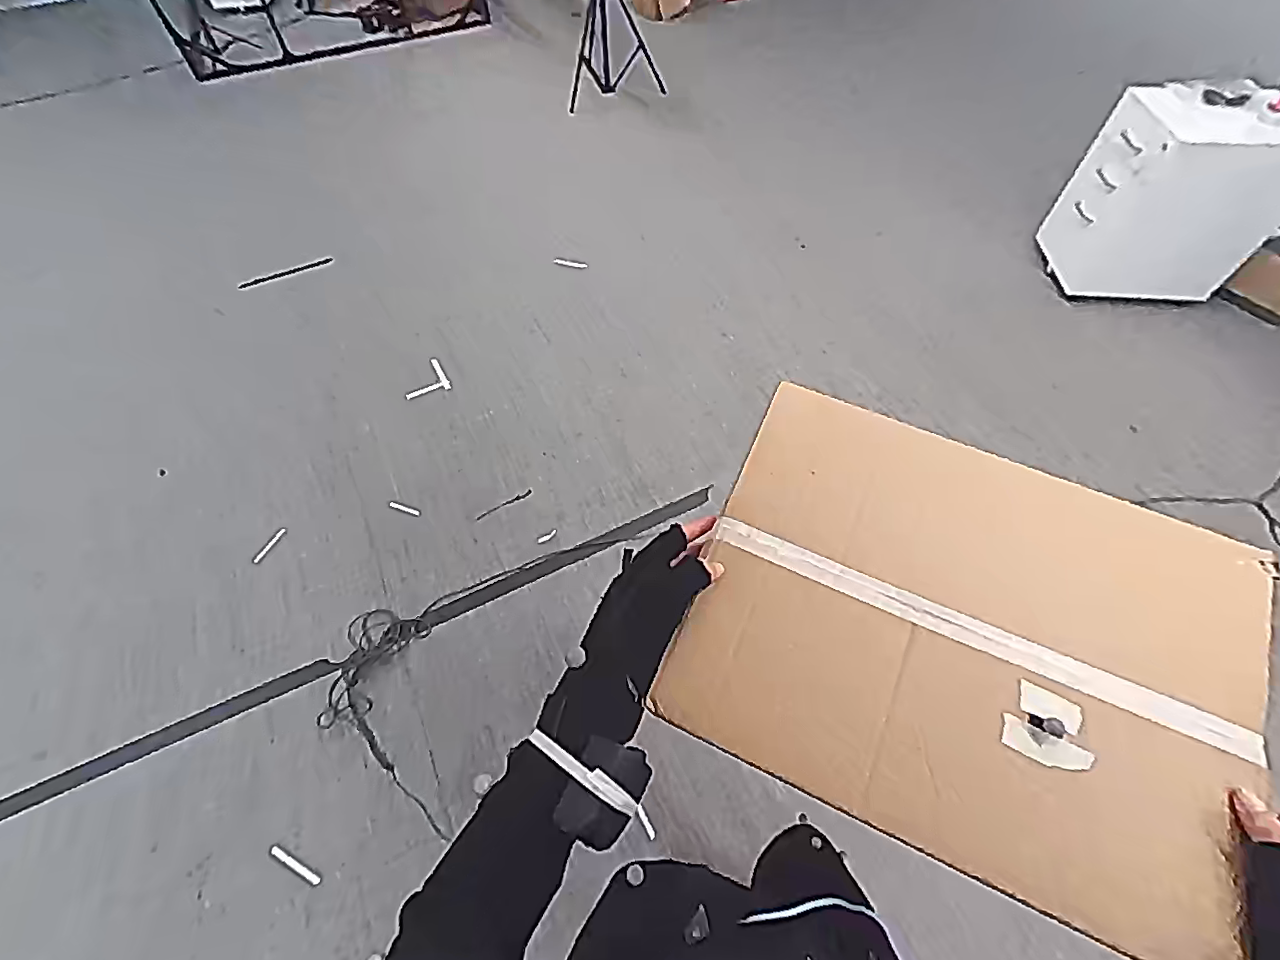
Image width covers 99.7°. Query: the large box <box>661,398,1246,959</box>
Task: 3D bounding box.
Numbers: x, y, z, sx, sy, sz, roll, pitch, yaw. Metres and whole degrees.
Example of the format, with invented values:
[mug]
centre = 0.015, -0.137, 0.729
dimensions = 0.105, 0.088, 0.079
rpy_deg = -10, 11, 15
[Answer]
[large box]
centre = 0.261, 0.173, 0.573
dimensions = 0.408, 0.320, 0.320
rpy_deg = 23, 72, 11
